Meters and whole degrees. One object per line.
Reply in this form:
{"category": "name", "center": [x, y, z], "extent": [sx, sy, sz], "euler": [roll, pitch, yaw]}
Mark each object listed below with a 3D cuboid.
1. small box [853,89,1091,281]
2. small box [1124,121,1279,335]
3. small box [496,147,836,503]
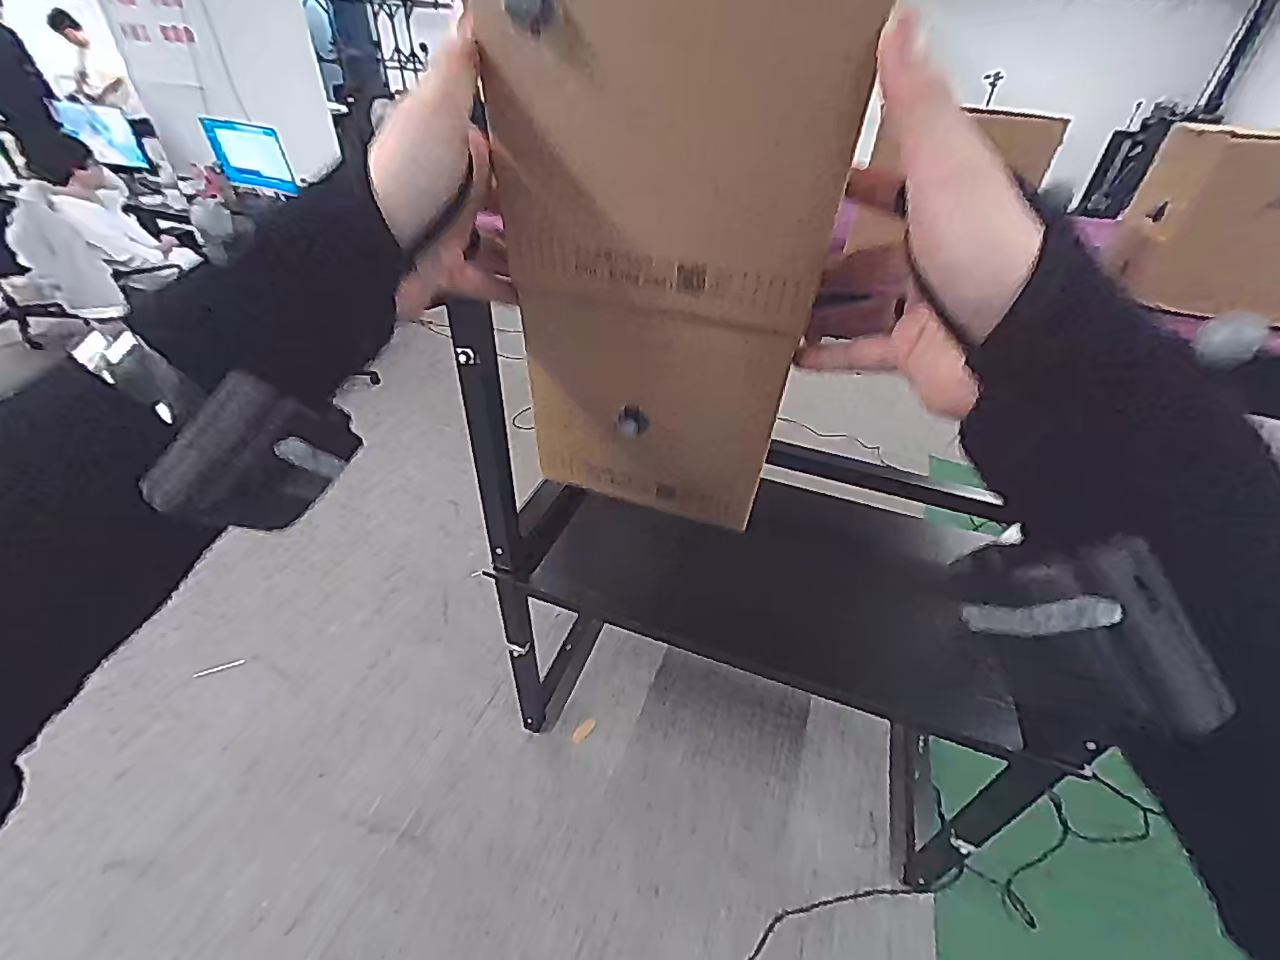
{"category": "small box", "center": [0.362, -0.343, 0.626], "extent": [0.179, 0.176, 0.168], "euler": [17, 40, 16]}
{"category": "small box", "center": [0.652, -0.261, 0.560], "extent": [0.179, 0.176, 0.168], "euler": [19, 41, 18]}
{"category": "small box", "center": [0.023, -0.111, 0.389], "extent": [0.168, 0.176, 0.179], "euler": [18, 48, 12]}
